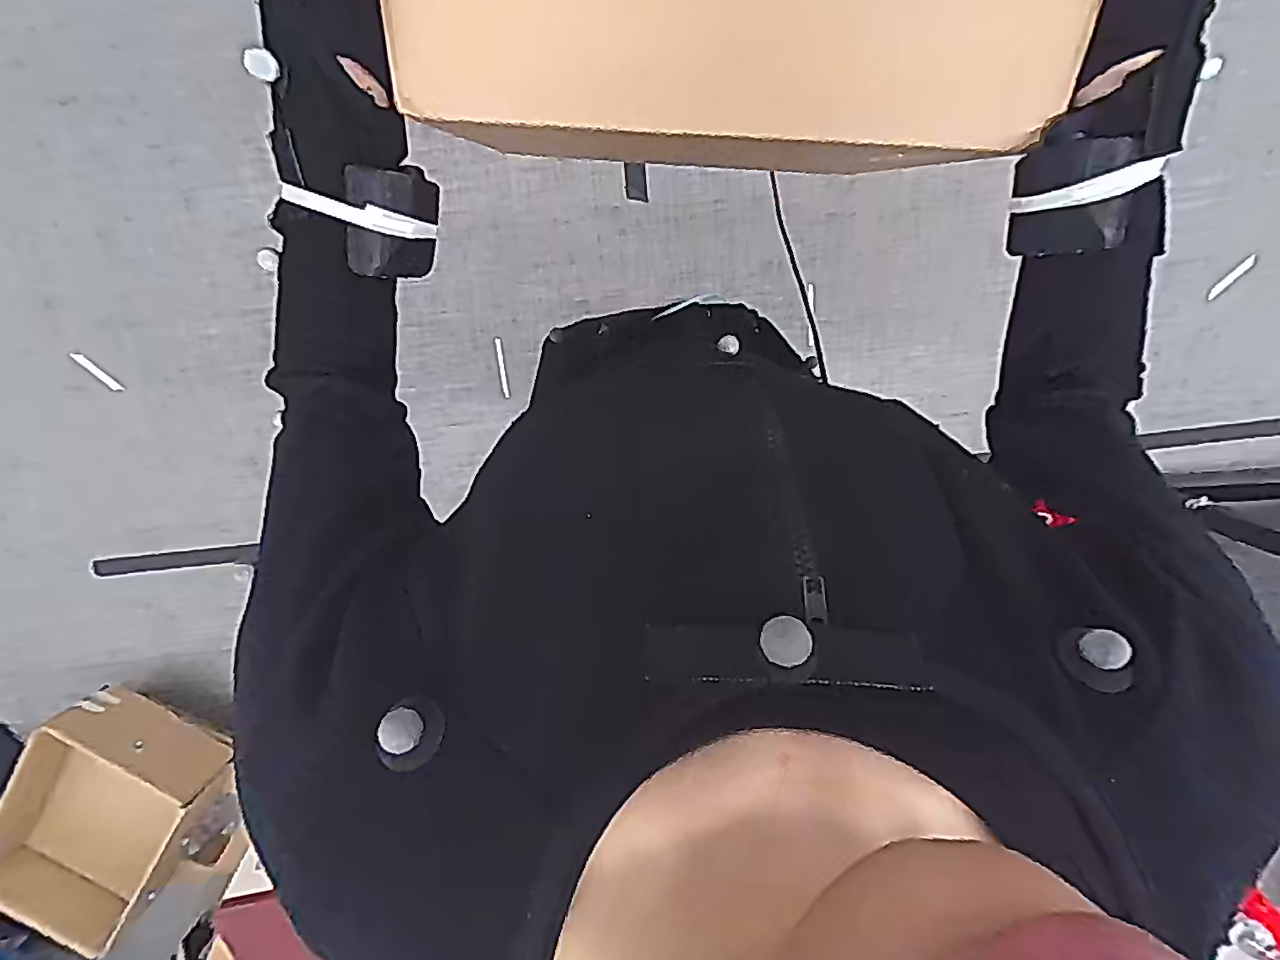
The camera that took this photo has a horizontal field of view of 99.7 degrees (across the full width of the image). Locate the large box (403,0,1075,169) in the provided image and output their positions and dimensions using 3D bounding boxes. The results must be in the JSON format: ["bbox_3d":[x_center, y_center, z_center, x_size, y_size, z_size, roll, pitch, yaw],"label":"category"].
[{"bbox_3d":[0.057,-0.425,0.407,0.408,0.320,0.320,2,119,-4],"label":"large box"}]
